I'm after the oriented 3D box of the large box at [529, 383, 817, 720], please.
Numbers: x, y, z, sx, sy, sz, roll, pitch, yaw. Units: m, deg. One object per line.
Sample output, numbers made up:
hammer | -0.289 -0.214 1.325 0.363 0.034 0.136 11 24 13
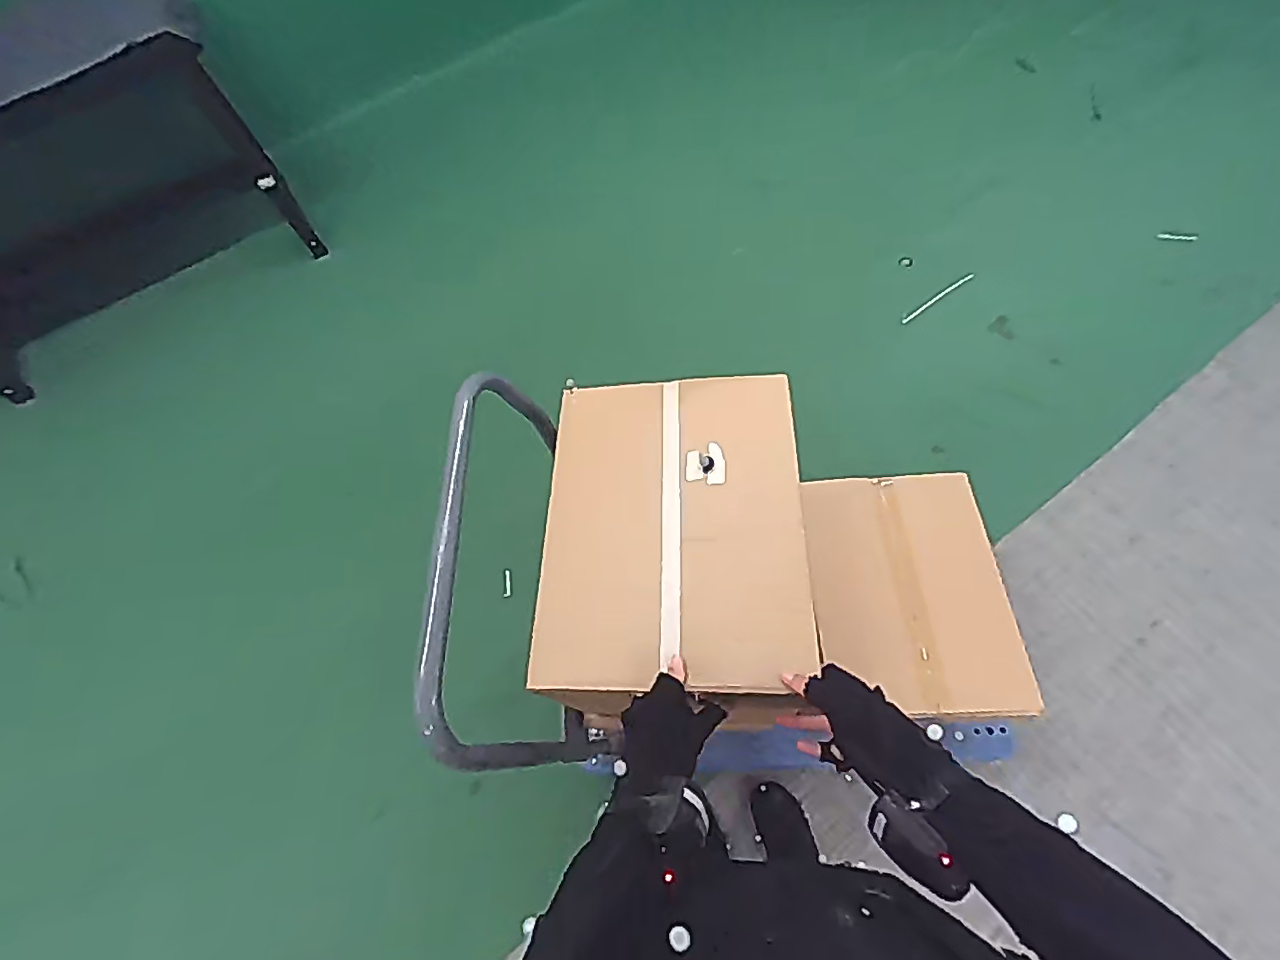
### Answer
large box | 0.057 0.120 0.789 0.320 0.320 0.408 -2 61 8
